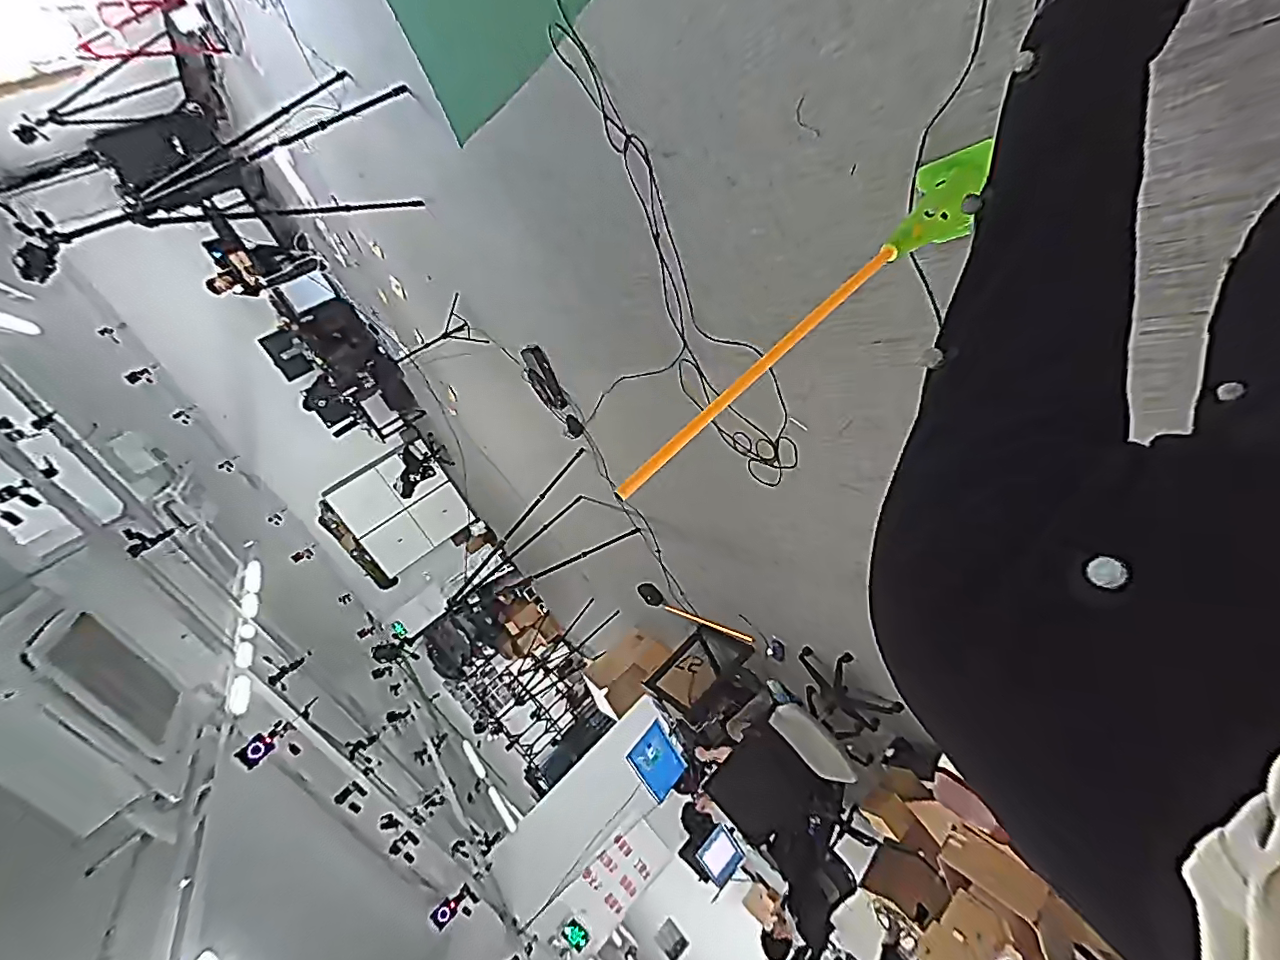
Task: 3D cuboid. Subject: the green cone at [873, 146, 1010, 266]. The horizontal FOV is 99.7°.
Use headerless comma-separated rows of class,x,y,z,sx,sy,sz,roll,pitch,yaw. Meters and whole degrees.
green cone,0.684,-0.613,1.299,0.202,0.368,0.200,10,133,59
